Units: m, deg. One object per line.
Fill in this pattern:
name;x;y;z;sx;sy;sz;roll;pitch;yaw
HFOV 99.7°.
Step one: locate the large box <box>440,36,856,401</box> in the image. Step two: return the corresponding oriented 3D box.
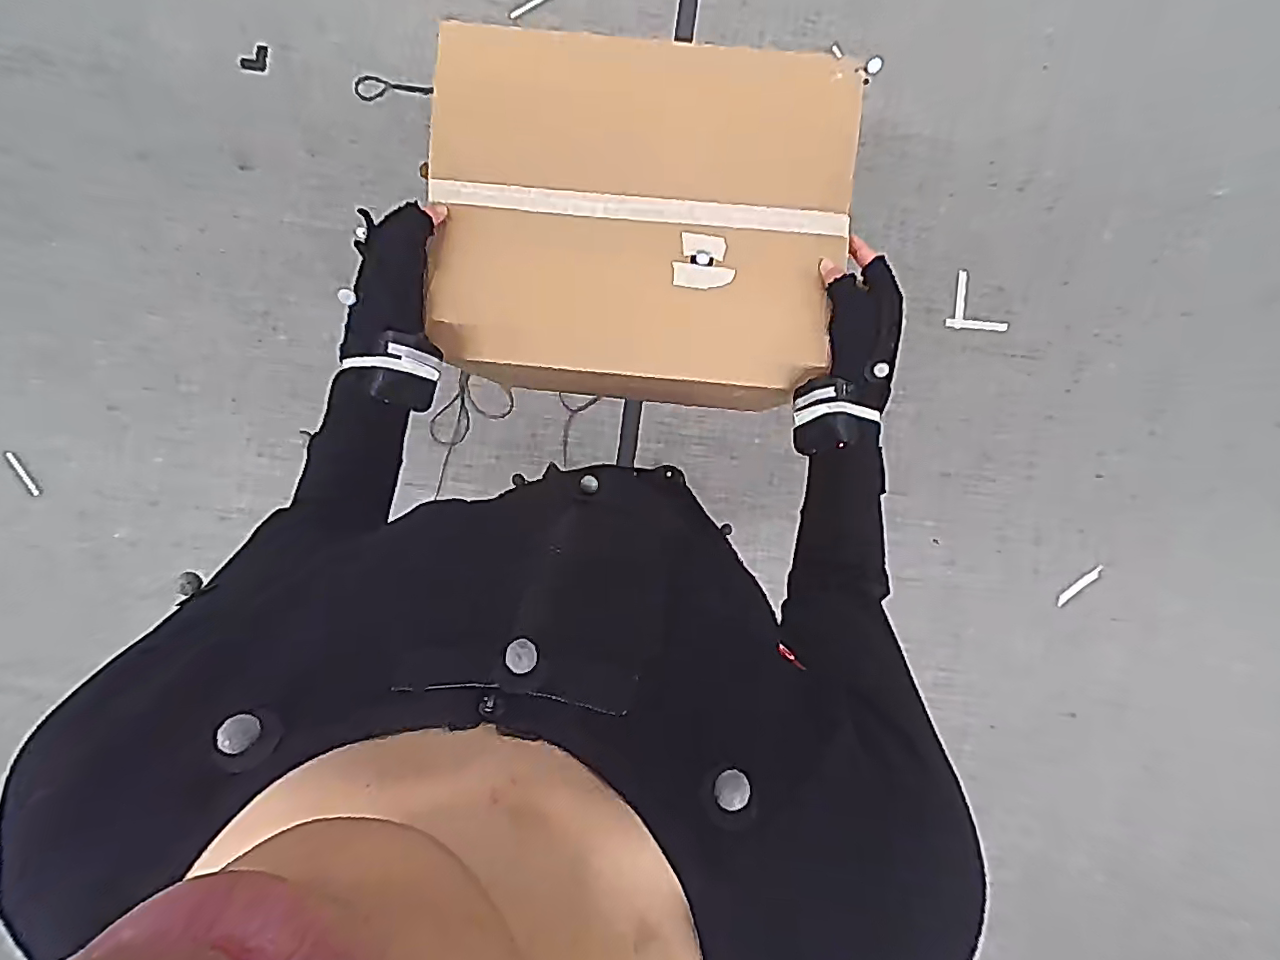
large box;0.003;-0.279;0.688;0.408;0.320;0.320;5;95;0
